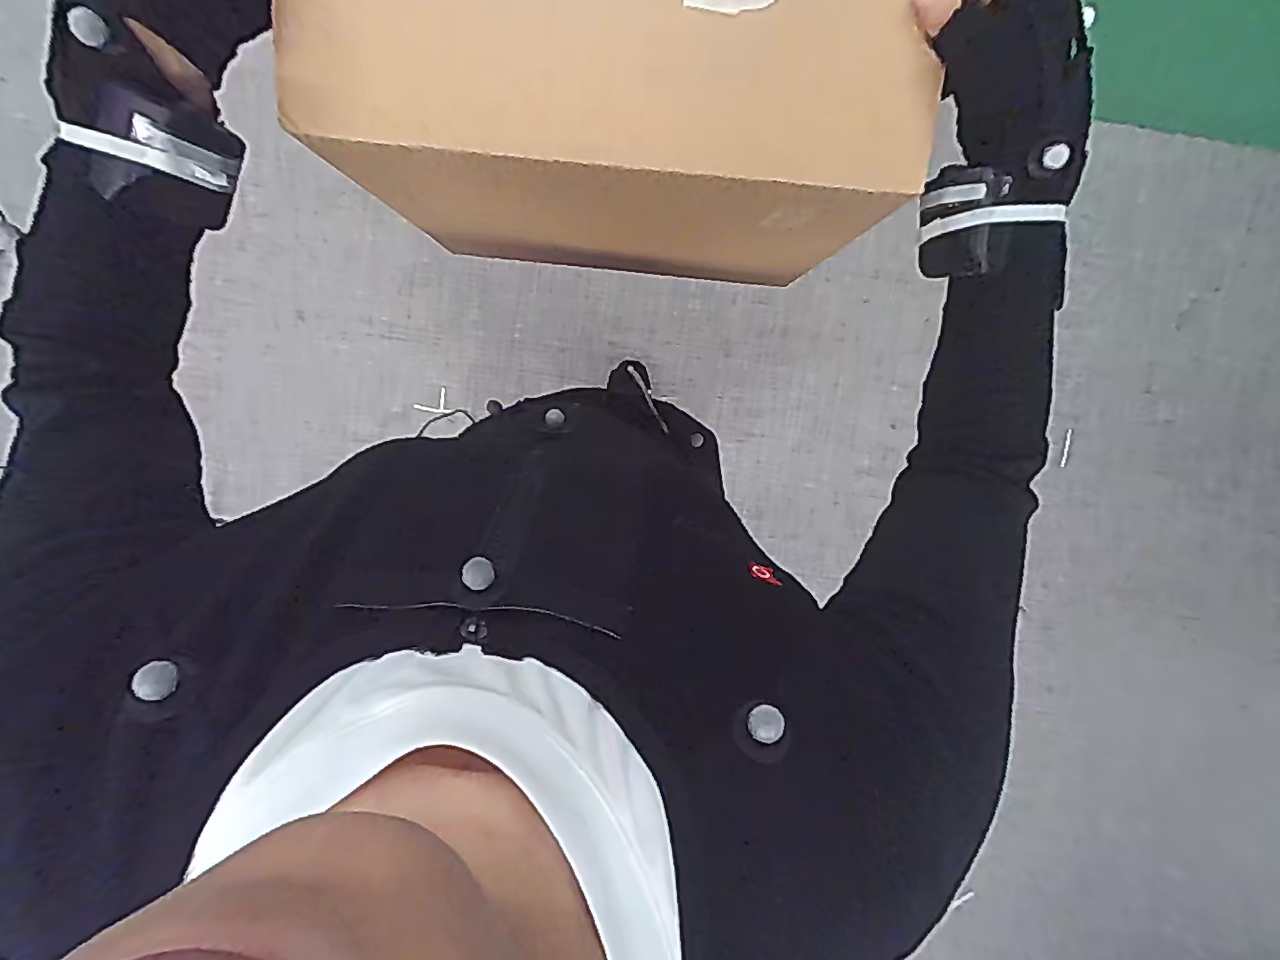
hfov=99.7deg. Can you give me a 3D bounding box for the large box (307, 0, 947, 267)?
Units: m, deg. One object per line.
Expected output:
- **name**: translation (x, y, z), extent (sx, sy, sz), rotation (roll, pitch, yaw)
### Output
- **large box**: translation (-0.005, -0.388, 0.470), extent (0.408, 0.320, 0.320), rotation (4, 101, -1)
